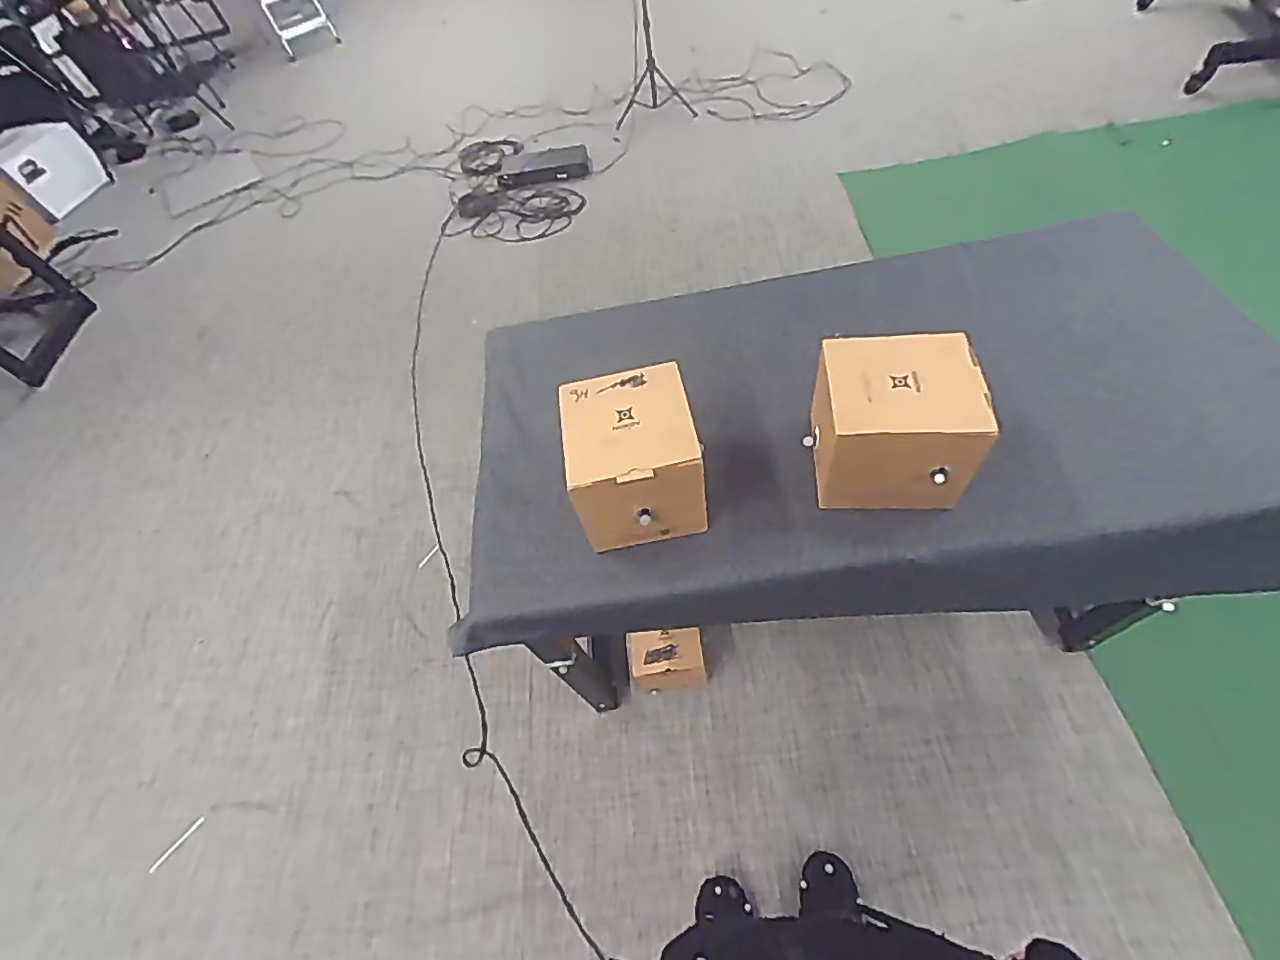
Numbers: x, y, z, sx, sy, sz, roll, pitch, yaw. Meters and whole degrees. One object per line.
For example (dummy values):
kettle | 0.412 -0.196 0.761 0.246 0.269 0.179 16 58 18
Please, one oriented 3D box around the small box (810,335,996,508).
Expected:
small box | 0.333 -0.073 0.725 0.179 0.176 0.168 0 56 10

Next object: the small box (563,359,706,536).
small box | -0.004 -0.036 0.753 0.168 0.176 0.179 -10 56 2
